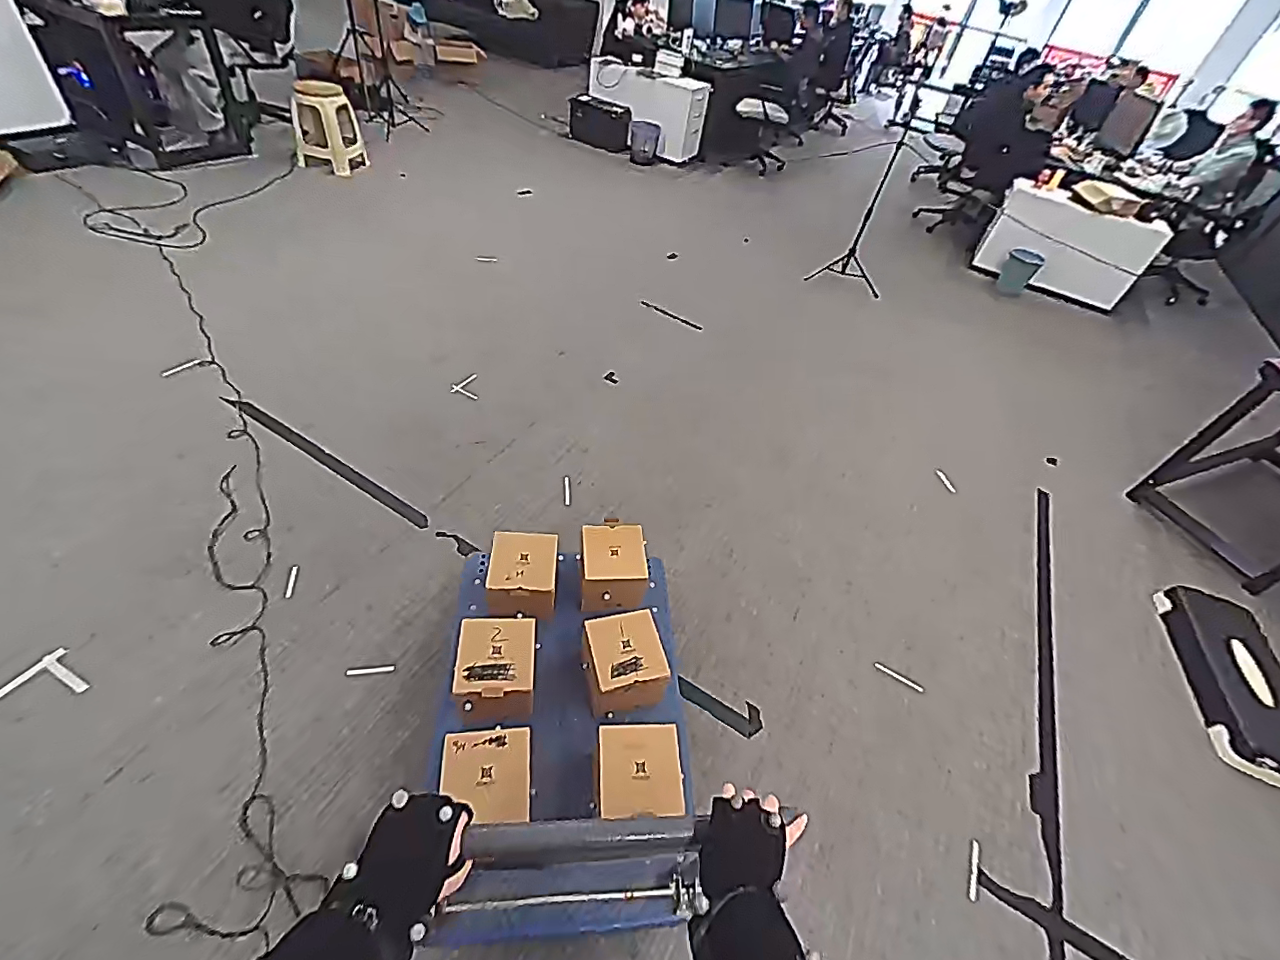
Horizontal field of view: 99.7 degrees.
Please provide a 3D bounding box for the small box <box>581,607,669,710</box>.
[{"bbox_3d":[-0.043,0.437,1.312,0.168,0.176,0.179,-6,47,-17],"label":"small box"}]

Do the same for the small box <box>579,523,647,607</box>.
[{"bbox_3d":[-0.080,0.239,1.496,0.168,0.176,0.179,1,46,-11],"label":"small box"}]

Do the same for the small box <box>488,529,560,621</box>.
[{"bbox_3d":[-0.305,0.252,1.432,0.168,0.176,0.179,4,47,-8],"label":"small box"}]

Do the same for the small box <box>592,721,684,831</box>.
[{"bbox_3d":[-0.011,0.626,1.139,0.168,0.176,0.179,4,45,-9],"label":"small box"}]

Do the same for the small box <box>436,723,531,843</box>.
[{"bbox_3d":[-0.304,0.612,1.086,0.168,0.176,0.179,1,47,-12],"label":"small box"}]
